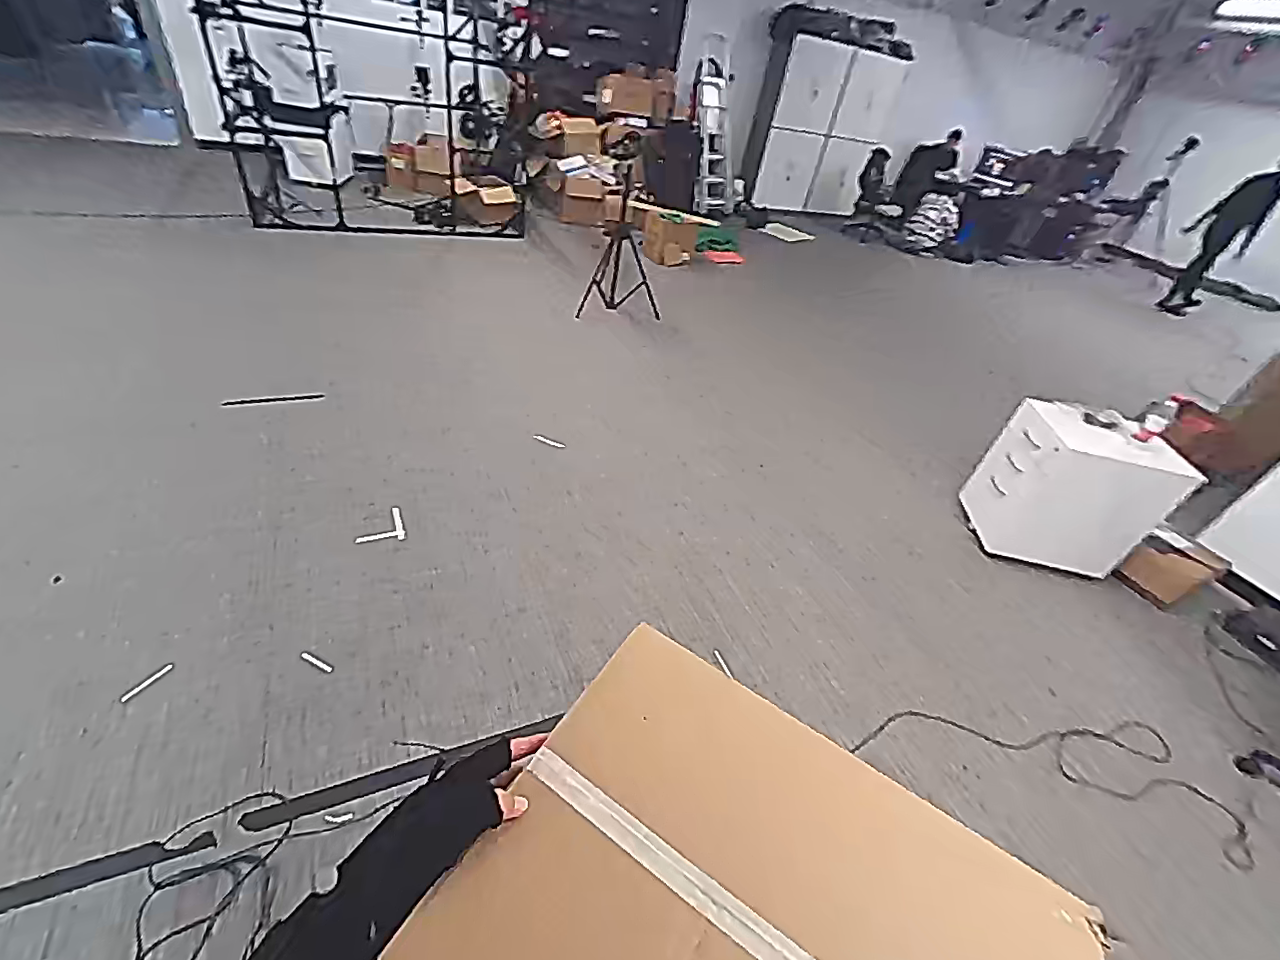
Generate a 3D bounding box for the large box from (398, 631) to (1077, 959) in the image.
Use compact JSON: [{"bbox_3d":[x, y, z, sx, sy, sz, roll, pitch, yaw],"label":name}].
[{"bbox_3d":[0.070,0.422,0.483,0.408,0.320,0.320,28,48,20],"label":"large box"}]
